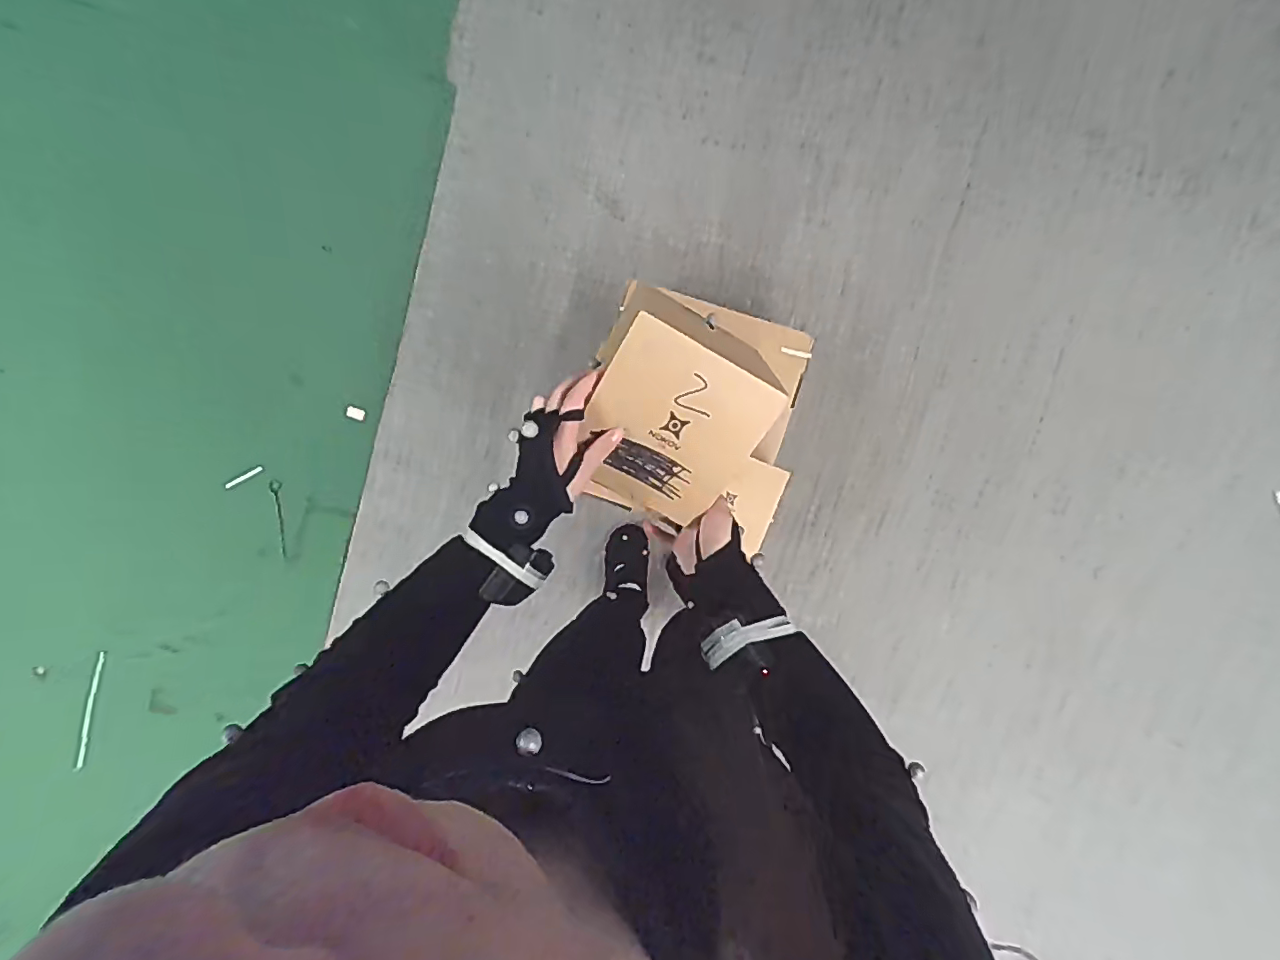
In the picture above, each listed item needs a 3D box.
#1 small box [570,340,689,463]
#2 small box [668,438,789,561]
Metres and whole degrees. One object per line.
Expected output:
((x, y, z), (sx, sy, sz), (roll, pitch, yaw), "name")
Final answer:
((-0.016, -0.142, 1.044), (0.168, 0.176, 0.179), (22, 92, 4), "small box")
((0.162, 0.031, 1.039), (0.168, 0.176, 0.179), (23, 93, 1), "small box")
